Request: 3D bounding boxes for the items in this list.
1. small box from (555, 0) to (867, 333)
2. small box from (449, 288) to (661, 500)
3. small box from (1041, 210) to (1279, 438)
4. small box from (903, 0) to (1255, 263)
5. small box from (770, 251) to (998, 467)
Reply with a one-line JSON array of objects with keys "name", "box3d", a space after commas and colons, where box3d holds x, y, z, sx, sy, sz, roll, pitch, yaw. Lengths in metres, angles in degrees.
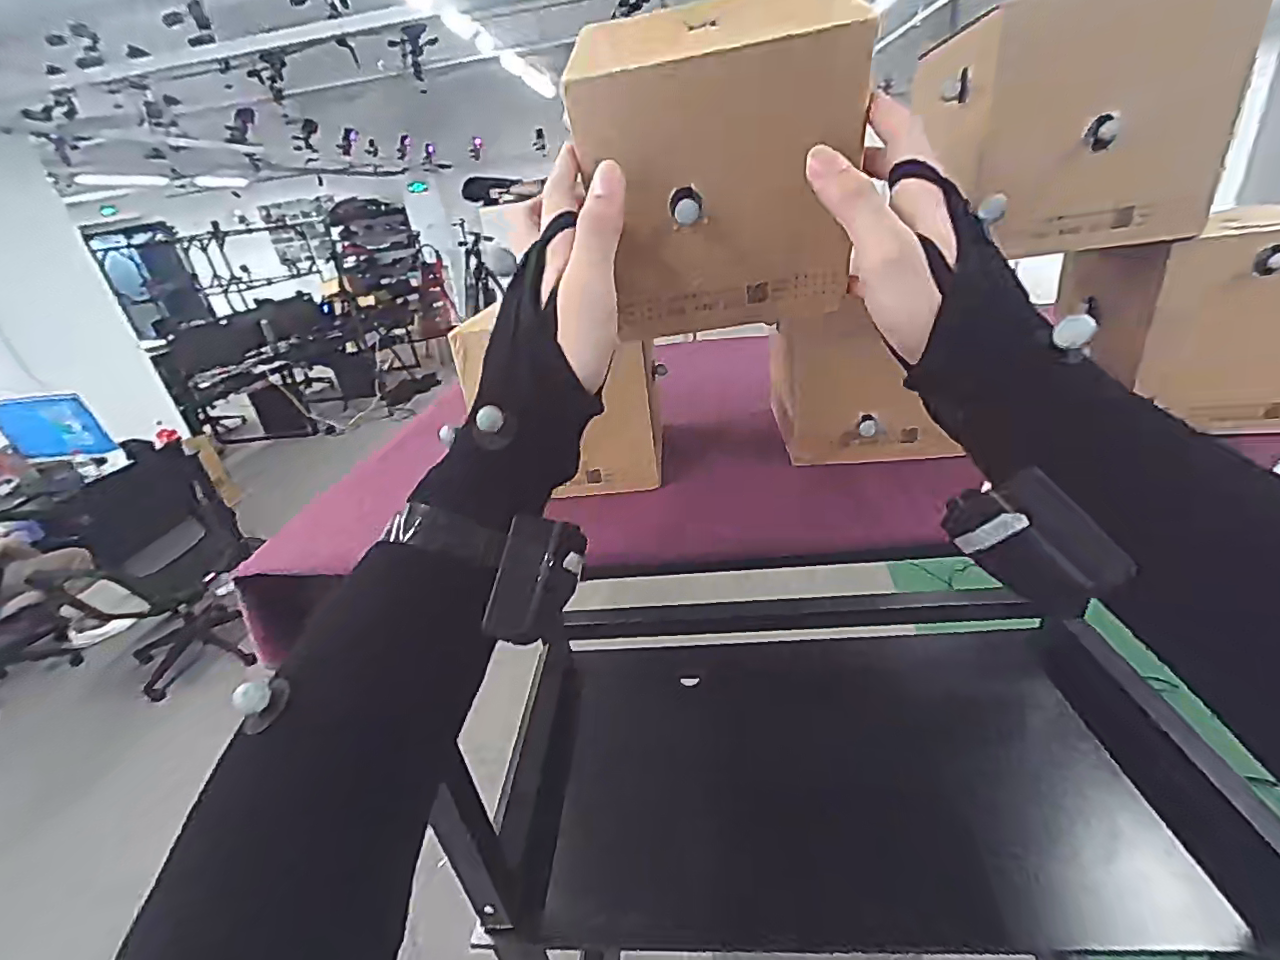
[{"name": "small box", "box3d": [0.050, -0.221, 0.389, 0.168, 0.176, 0.179, -6, 47, 8]}, {"name": "small box", "box3d": [-0.069, -0.095, 0.557, 0.168, 0.176, 0.179, -5, 28, 6]}, {"name": "small box", "box3d": [0.511, -0.147, 0.504, 0.168, 0.176, 0.179, -2, 26, 15]}, {"name": "small box", "box3d": [0.337, -0.285, 0.457, 0.168, 0.176, 0.179, -3, 27, 9]}, {"name": "small box", "box3d": [0.220, -0.125, 0.544, 0.168, 0.176, 0.179, -4, 27, 9]}]
